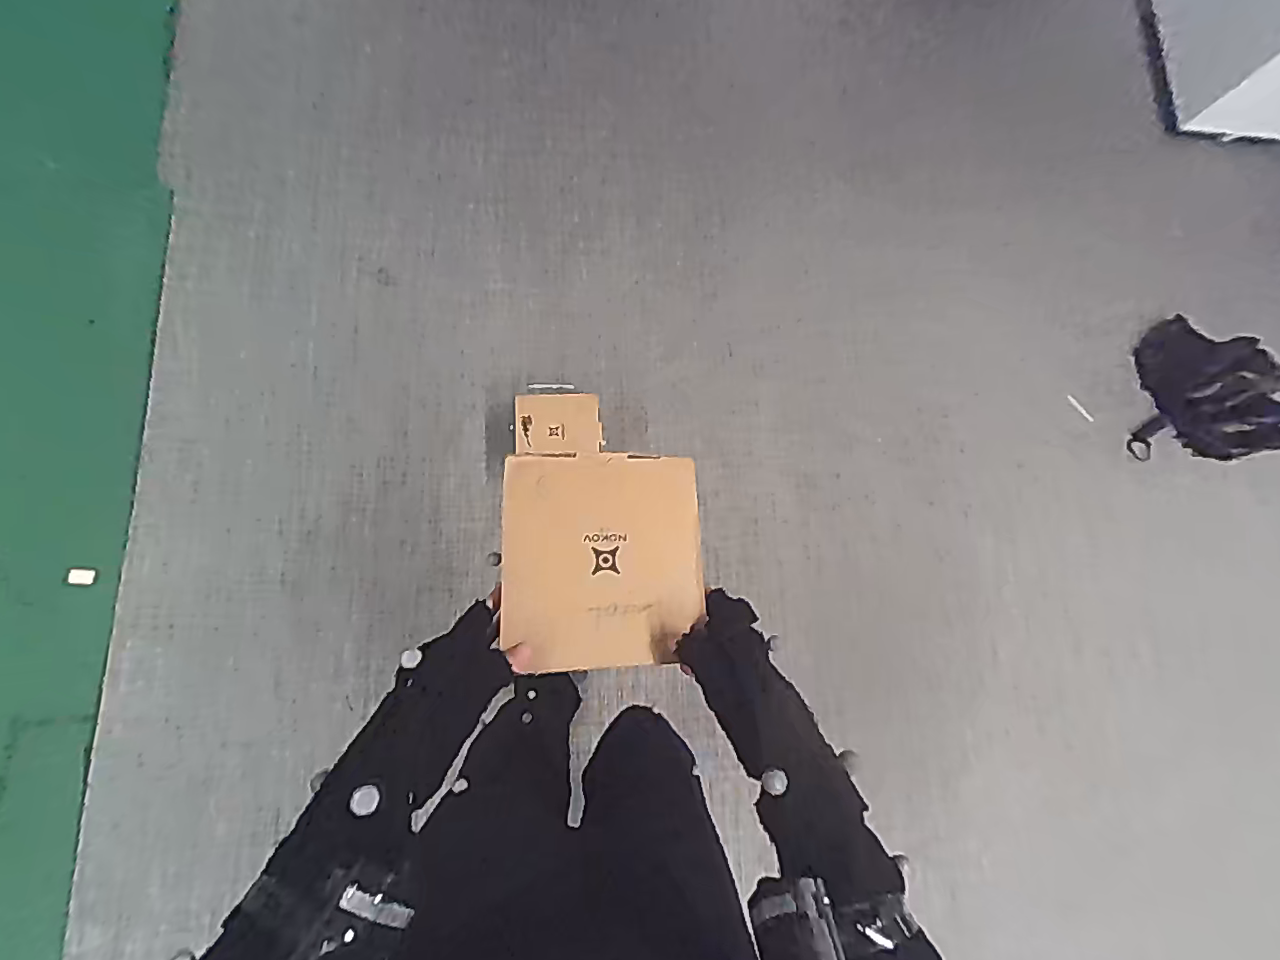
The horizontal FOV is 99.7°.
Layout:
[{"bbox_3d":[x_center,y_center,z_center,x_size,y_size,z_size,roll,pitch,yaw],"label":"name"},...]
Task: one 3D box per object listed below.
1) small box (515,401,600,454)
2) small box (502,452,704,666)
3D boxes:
[{"bbox_3d":[-0.183,-0.071,1.202,0.179,0.176,0.168,-1,79,-8],"label":"small box"},{"bbox_3d":[-0.046,0.081,0.526,0.168,0.176,0.179,0,75,-11],"label":"small box"}]
